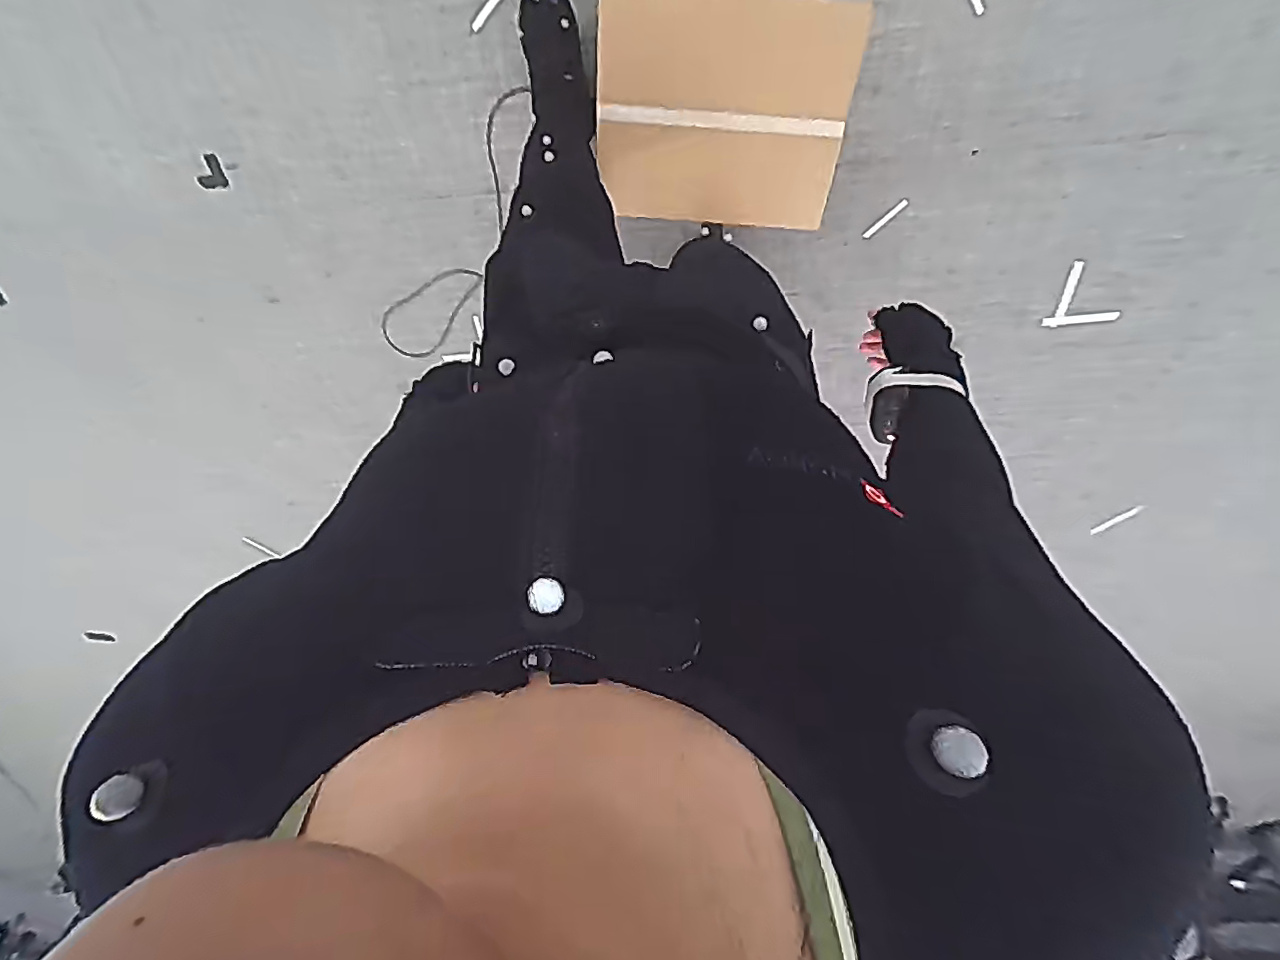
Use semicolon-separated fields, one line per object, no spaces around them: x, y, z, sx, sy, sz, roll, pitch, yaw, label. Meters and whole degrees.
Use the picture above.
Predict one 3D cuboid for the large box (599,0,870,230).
0.137;-0.676;0.993;0.408;0.320;0.320;3;128;-2;large box
